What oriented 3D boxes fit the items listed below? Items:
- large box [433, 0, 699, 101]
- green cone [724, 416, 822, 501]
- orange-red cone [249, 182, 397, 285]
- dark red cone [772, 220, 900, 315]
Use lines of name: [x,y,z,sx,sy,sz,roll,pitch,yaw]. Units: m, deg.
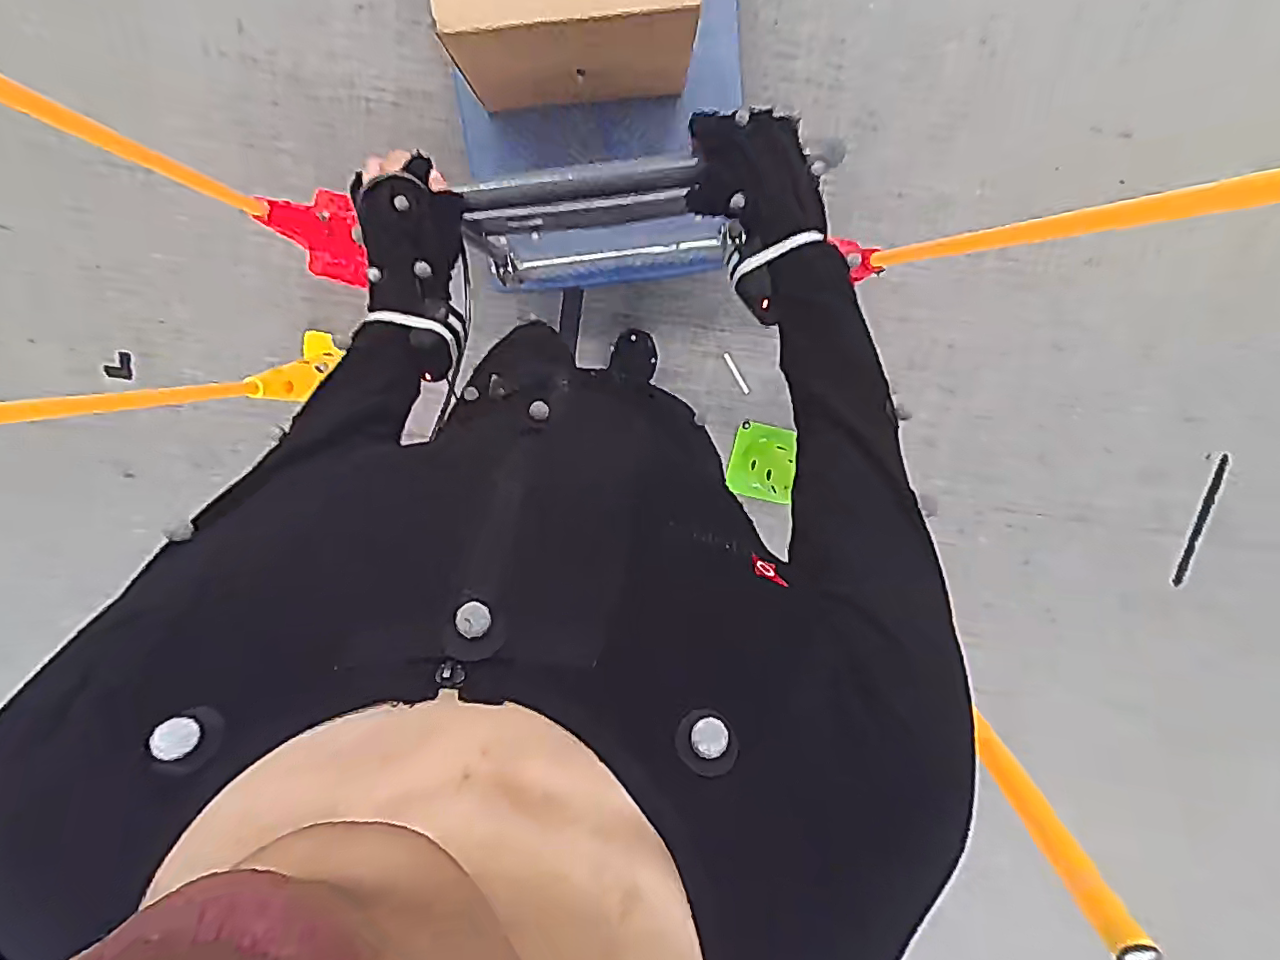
large box: [-0.122,-0.887,0.910,0.408,0.320,0.320,-5,106,1]
green cone: [0.347,-0.018,1.300,0.202,0.368,0.200,11,104,-5]
orange-red cone: [-0.692,-0.551,1.139,0.198,0.360,0.199,15,103,-6]
dark red cone: [0.440,-0.475,1.163,0.201,0.394,0.202,7,105,-5]
